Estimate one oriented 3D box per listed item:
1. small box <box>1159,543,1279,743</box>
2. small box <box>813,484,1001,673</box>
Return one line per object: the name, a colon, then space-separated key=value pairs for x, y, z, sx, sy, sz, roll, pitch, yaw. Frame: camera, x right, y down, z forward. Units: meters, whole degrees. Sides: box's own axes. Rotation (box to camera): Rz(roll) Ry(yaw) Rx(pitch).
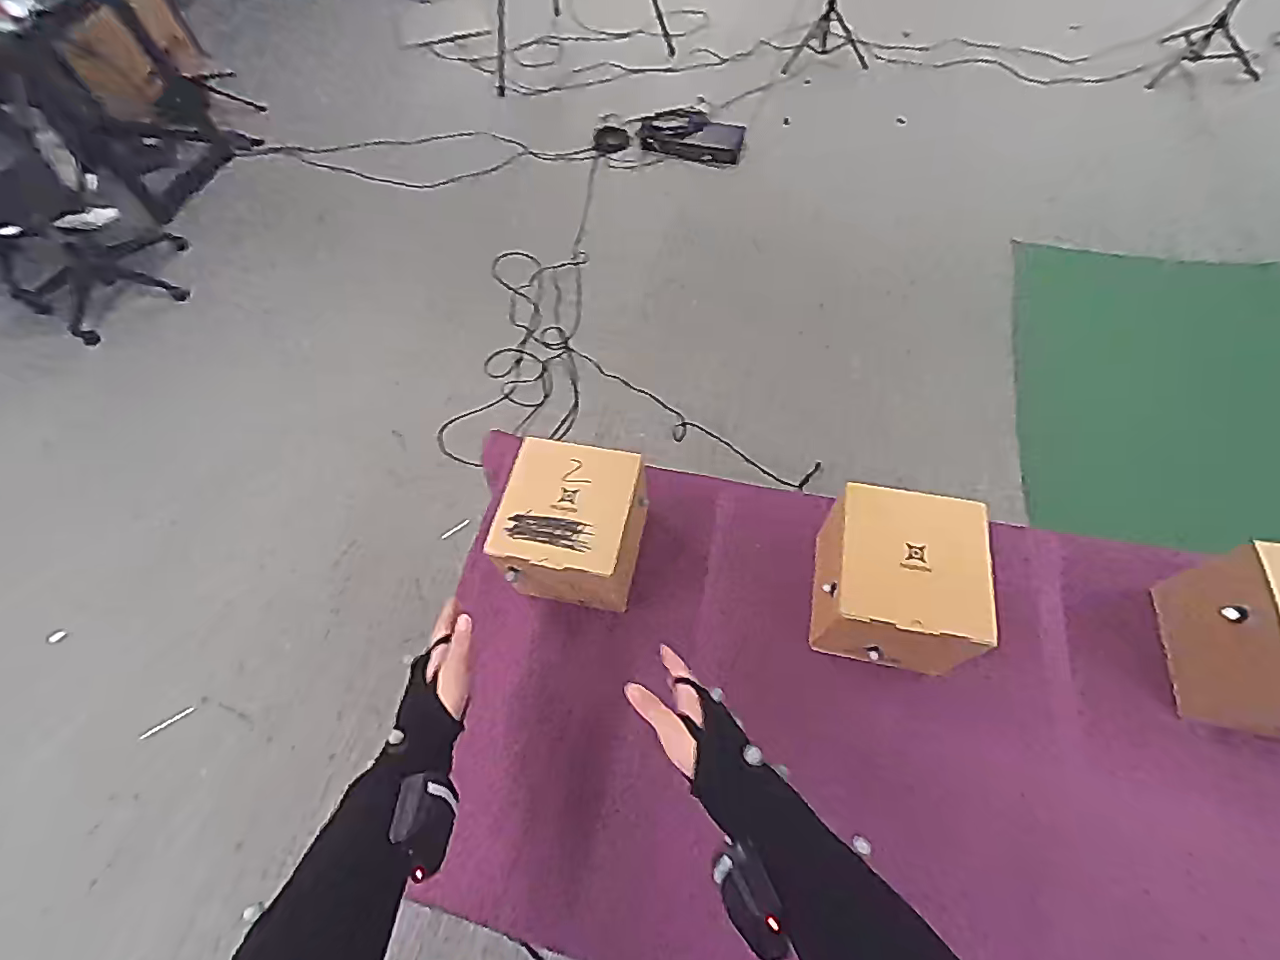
small box: x=0.757 y=0.197 z=0.621 sx=0.168 sy=0.176 sz=0.179 roll=9 pitch=62 yaw=12
small box: x=0.326 y=0.131 z=0.693 sx=0.168 sy=0.176 sz=0.179 roll=9 pitch=62 yaw=9
